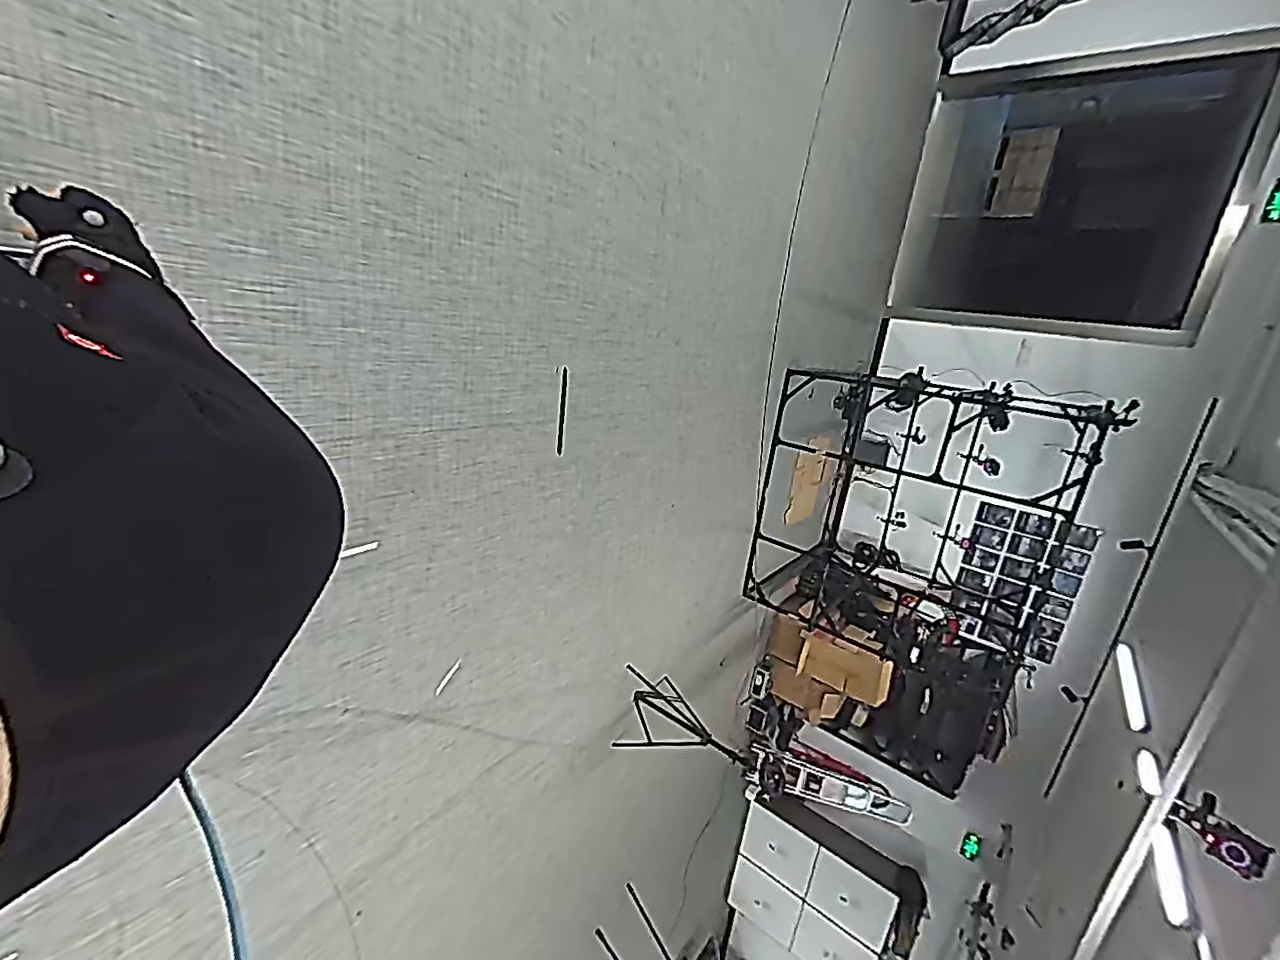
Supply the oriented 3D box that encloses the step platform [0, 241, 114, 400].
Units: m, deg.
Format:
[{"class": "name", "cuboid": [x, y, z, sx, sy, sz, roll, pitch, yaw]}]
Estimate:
[{"class": "step platform", "cuboid": [-1.328, -0.273, 0.874, 0.684, 0.204, 0.286, -17, 119, -52]}]
